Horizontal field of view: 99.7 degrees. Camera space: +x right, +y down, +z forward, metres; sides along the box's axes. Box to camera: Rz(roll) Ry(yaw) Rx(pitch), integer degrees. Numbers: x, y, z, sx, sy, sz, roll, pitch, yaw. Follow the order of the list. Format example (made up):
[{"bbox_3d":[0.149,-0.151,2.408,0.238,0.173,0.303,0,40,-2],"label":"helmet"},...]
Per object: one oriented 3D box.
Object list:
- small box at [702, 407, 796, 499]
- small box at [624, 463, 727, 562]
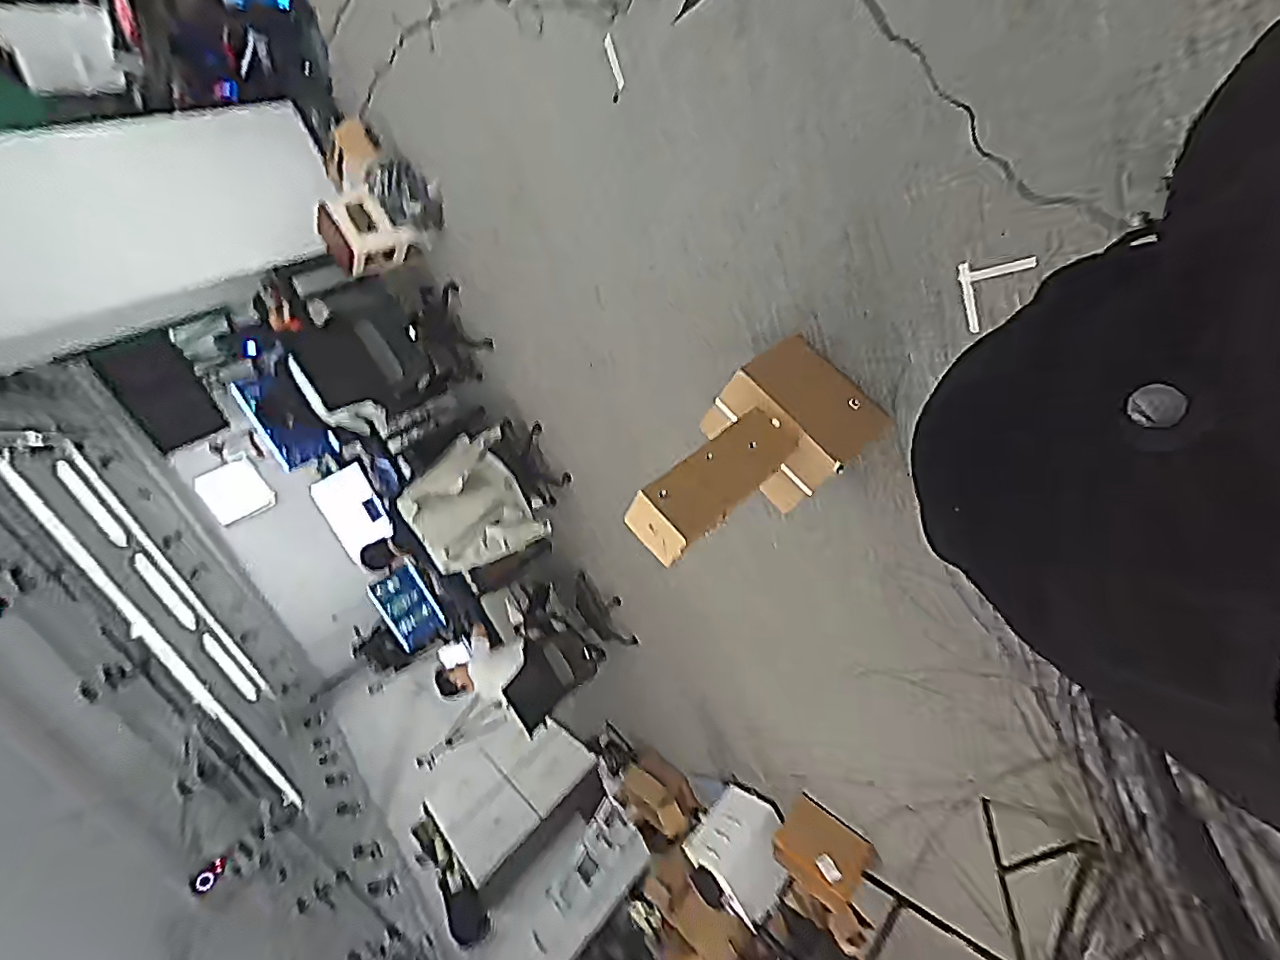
[{"bbox_3d":[0.322,-0.082,1.585,0.179,0.176,0.168,48,147,14],"label":"small box"},{"bbox_3d":[0.092,0.078,1.411,0.179,0.176,0.168,47,148,13],"label":"small box"}]
